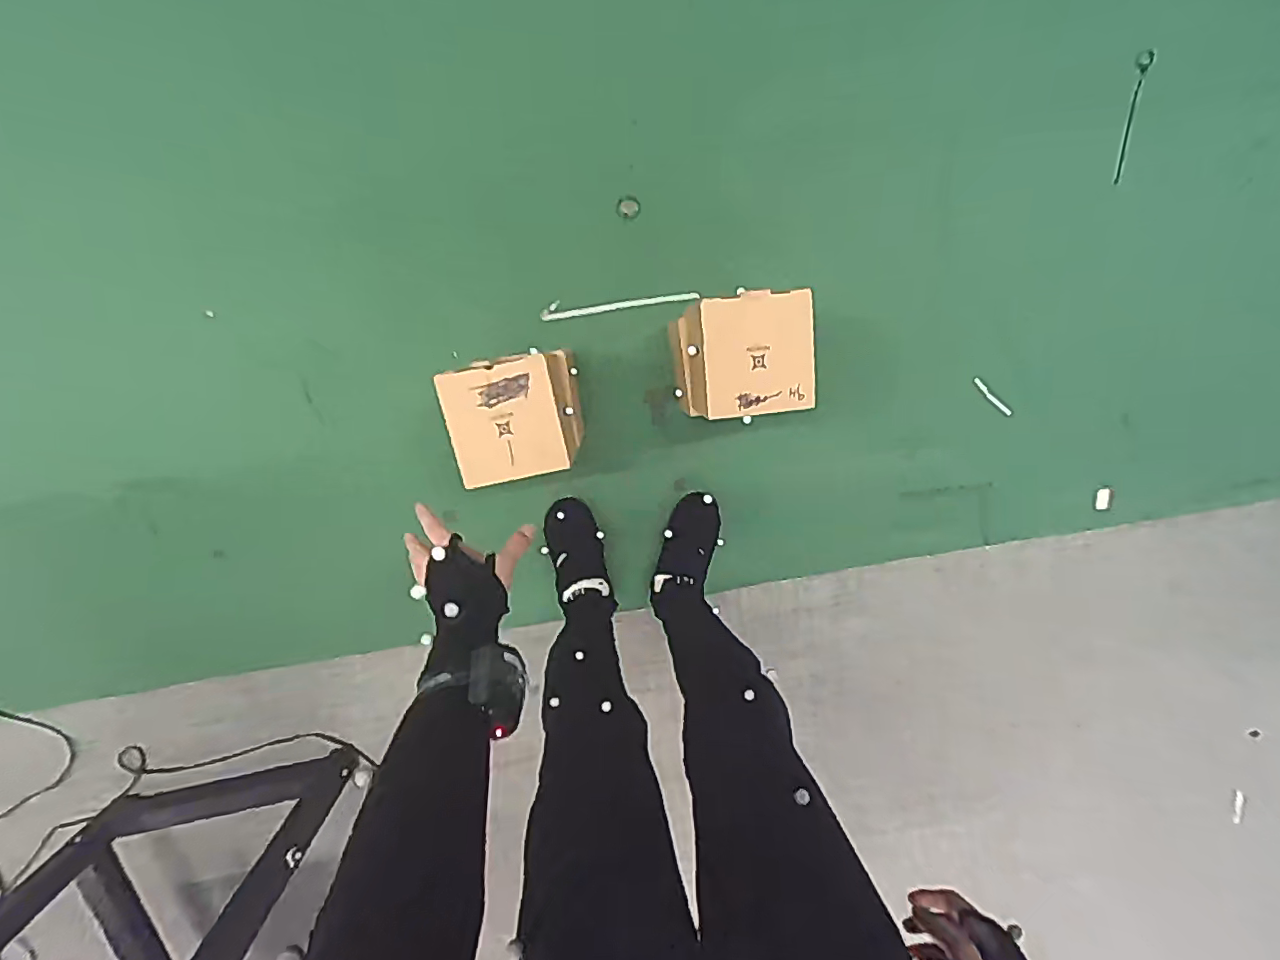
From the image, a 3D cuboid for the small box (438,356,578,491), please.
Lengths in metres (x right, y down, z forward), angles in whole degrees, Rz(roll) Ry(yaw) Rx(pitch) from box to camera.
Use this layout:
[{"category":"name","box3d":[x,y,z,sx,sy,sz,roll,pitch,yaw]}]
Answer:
[{"category":"small box","box3d":[-0.201,-0.098,0.873,0.168,0.176,0.179,-11,104,1]}]

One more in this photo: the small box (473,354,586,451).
[{"category":"small box","box3d":[-0.200,-0.143,1.031,0.168,0.176,0.179,-9,103,0]}]

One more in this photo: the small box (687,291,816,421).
[{"category":"small box","box3d":[0.171,-0.195,0.866,0.168,0.176,0.179,-6,103,-1]}]
